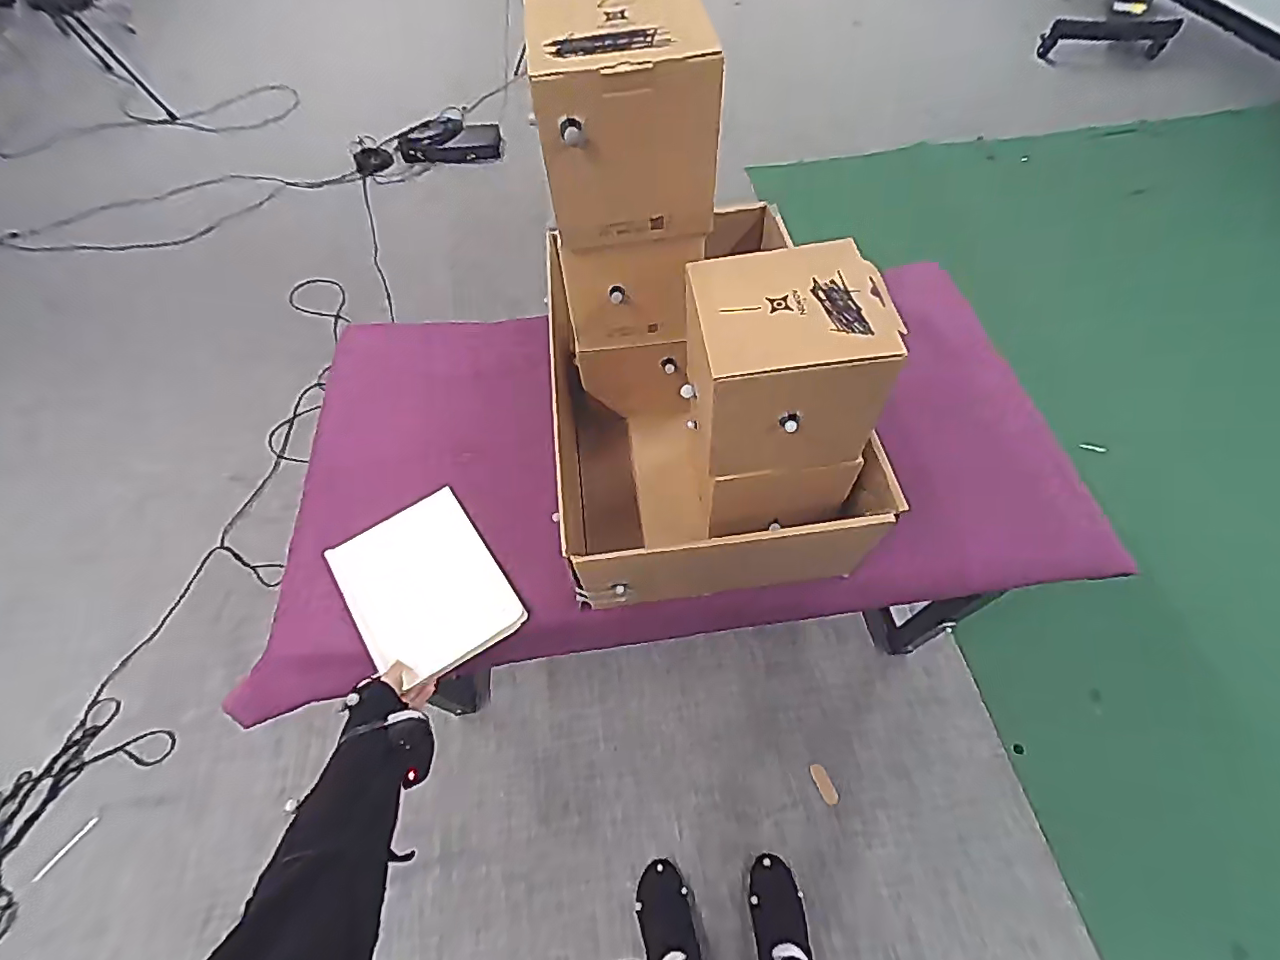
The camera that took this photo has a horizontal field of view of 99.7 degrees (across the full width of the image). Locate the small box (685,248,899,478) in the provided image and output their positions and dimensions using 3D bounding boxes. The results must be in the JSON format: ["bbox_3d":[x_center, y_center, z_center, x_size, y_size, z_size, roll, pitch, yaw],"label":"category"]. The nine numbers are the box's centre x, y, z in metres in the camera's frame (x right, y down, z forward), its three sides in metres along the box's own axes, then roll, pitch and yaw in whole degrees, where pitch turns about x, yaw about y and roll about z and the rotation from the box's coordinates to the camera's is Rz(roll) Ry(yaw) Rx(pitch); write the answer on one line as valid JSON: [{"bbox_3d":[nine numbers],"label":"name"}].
[{"bbox_3d":[0.144,-0.120,0.587,0.179,0.176,0.168,-7,57,1],"label":"small box"}]

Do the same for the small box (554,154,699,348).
[{"bbox_3d":[-0.016,-0.290,0.711,0.168,0.176,0.179,-6,59,-1],"label":"small box"}]
